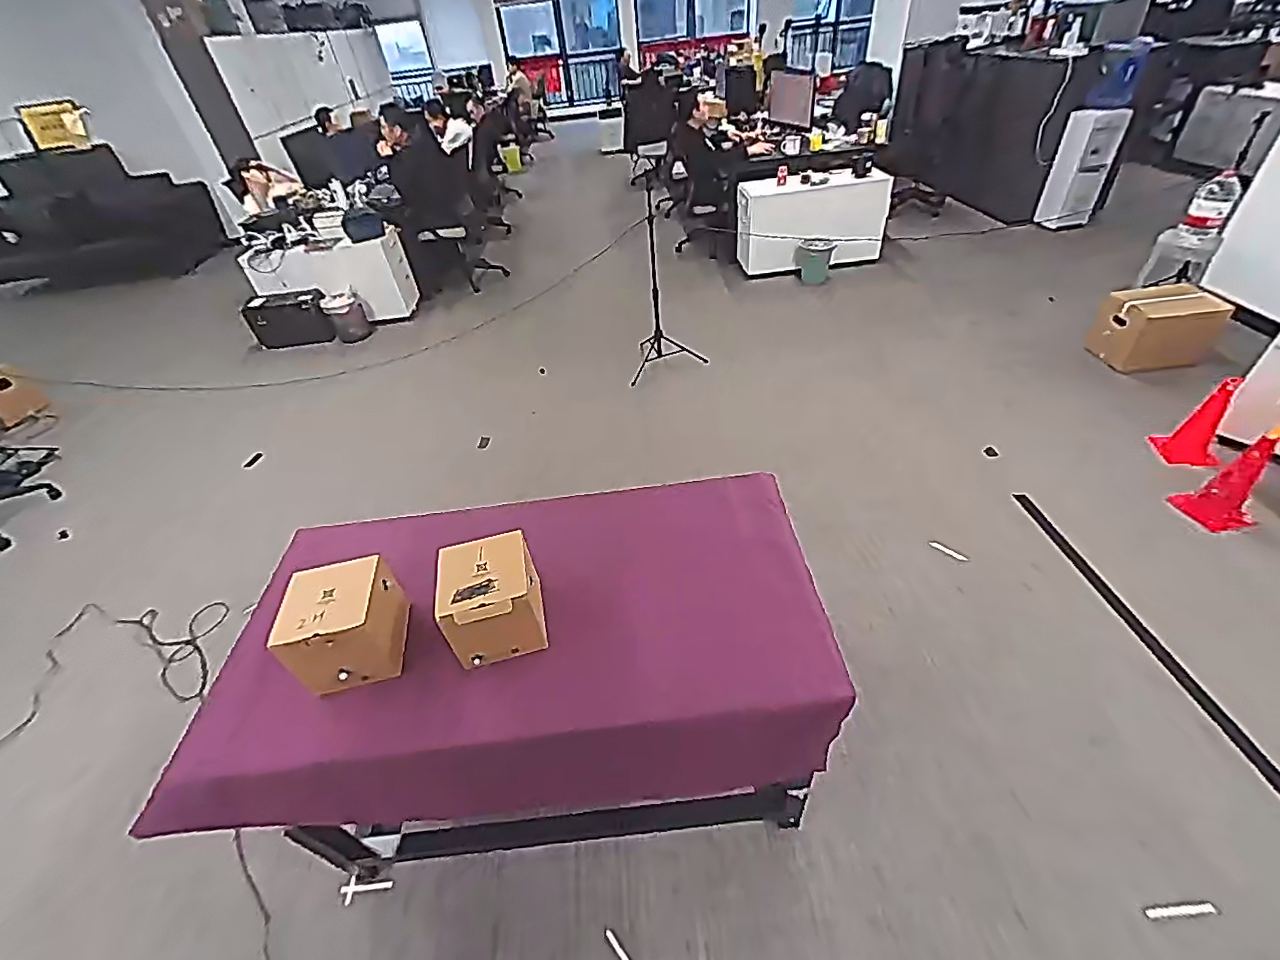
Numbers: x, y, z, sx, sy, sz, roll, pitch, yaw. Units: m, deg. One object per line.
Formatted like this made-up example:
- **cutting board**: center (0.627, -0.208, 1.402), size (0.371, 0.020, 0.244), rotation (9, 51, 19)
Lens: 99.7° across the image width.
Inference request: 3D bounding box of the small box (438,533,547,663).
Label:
- **small box**: center (-0.285, 0.237, 1.064), size (0.168, 0.176, 0.179), rotation (-13, 40, -7)

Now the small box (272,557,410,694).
- **small box**: center (-0.564, 0.282, 1.051), size (0.168, 0.176, 0.179), rotation (-12, 41, -5)
